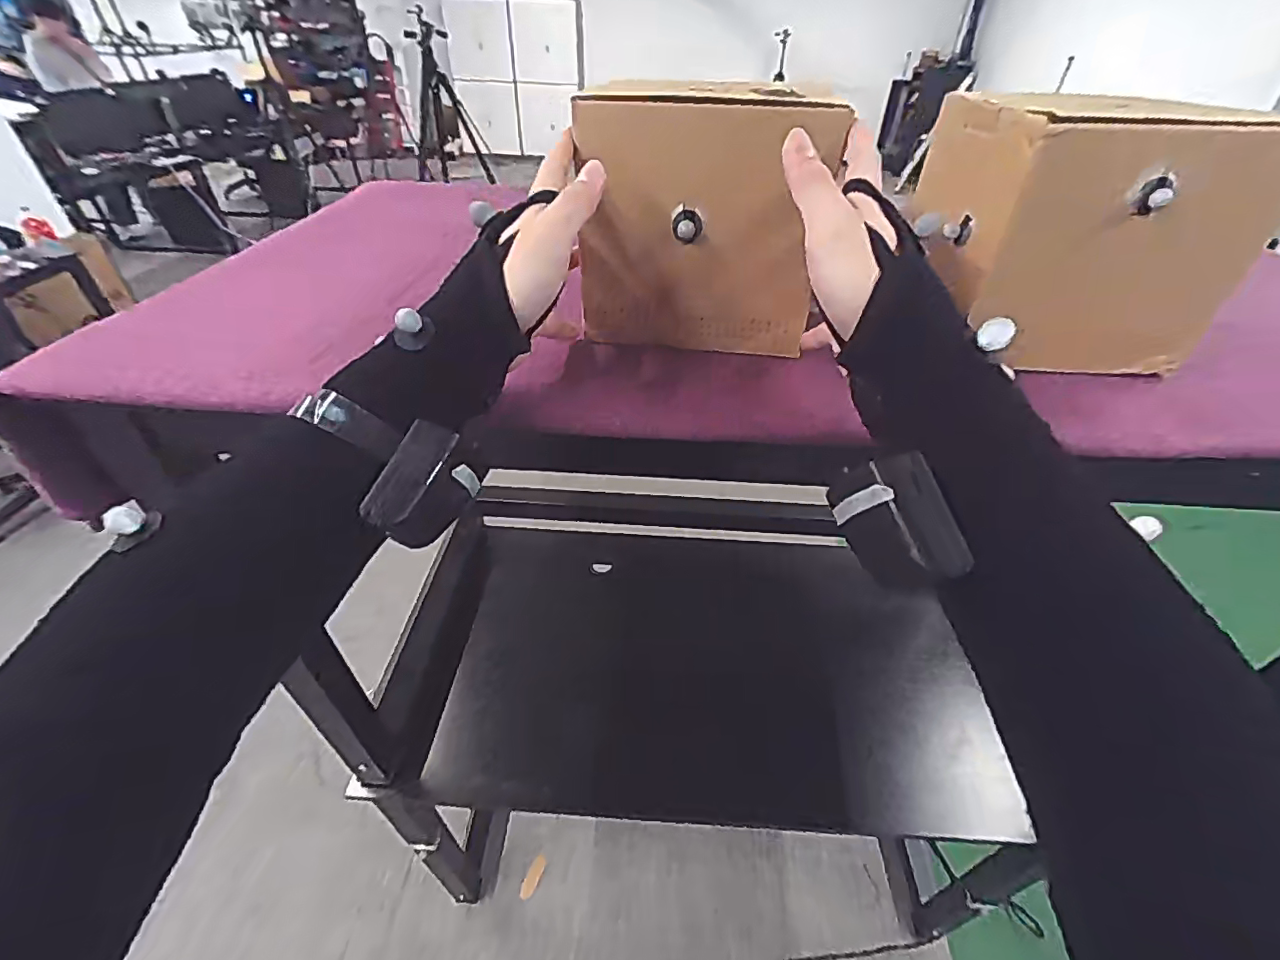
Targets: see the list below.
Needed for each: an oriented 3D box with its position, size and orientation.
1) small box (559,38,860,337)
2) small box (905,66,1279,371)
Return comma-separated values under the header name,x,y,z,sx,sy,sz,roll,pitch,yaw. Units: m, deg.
name,x,y,z,sx,sy,sz,roll,pitch,yaw
small box,0.048,-0.226,0.419,0.179,0.176,0.168,7,42,6
small box,0.322,-0.195,0.403,0.179,0.176,0.168,6,41,2
